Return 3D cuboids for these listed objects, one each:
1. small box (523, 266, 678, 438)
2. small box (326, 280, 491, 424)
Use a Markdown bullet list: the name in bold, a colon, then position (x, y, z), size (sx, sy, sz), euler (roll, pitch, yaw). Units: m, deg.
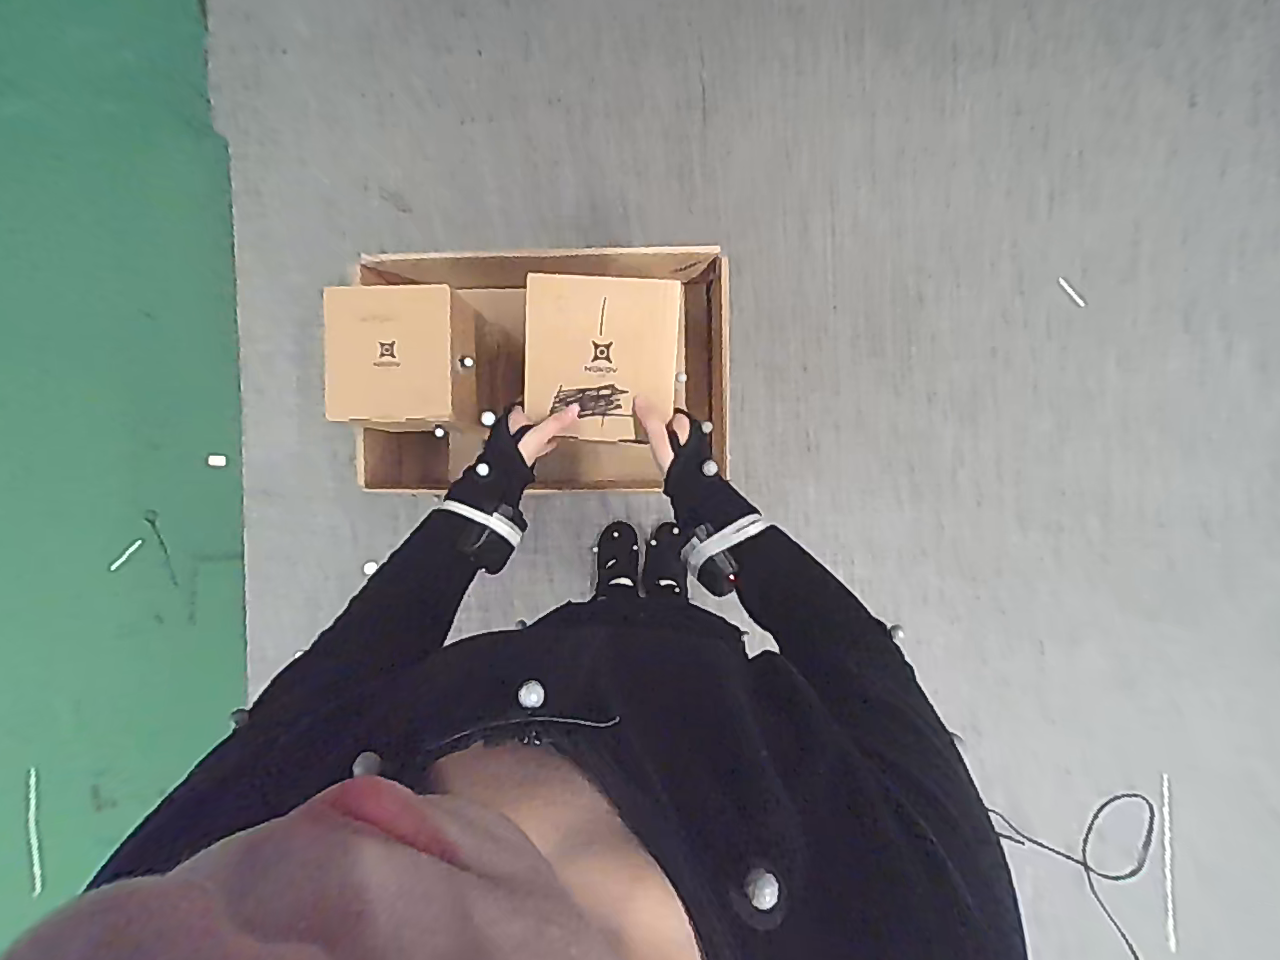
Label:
- **small box**: position (-0.041, -0.151, 0.666), size (0.168, 0.176, 0.179), euler (4, 99, 2)
- **small box**: position (-0.319, -0.172, 0.775), size (0.168, 0.176, 0.179), euler (1, 91, 2)
